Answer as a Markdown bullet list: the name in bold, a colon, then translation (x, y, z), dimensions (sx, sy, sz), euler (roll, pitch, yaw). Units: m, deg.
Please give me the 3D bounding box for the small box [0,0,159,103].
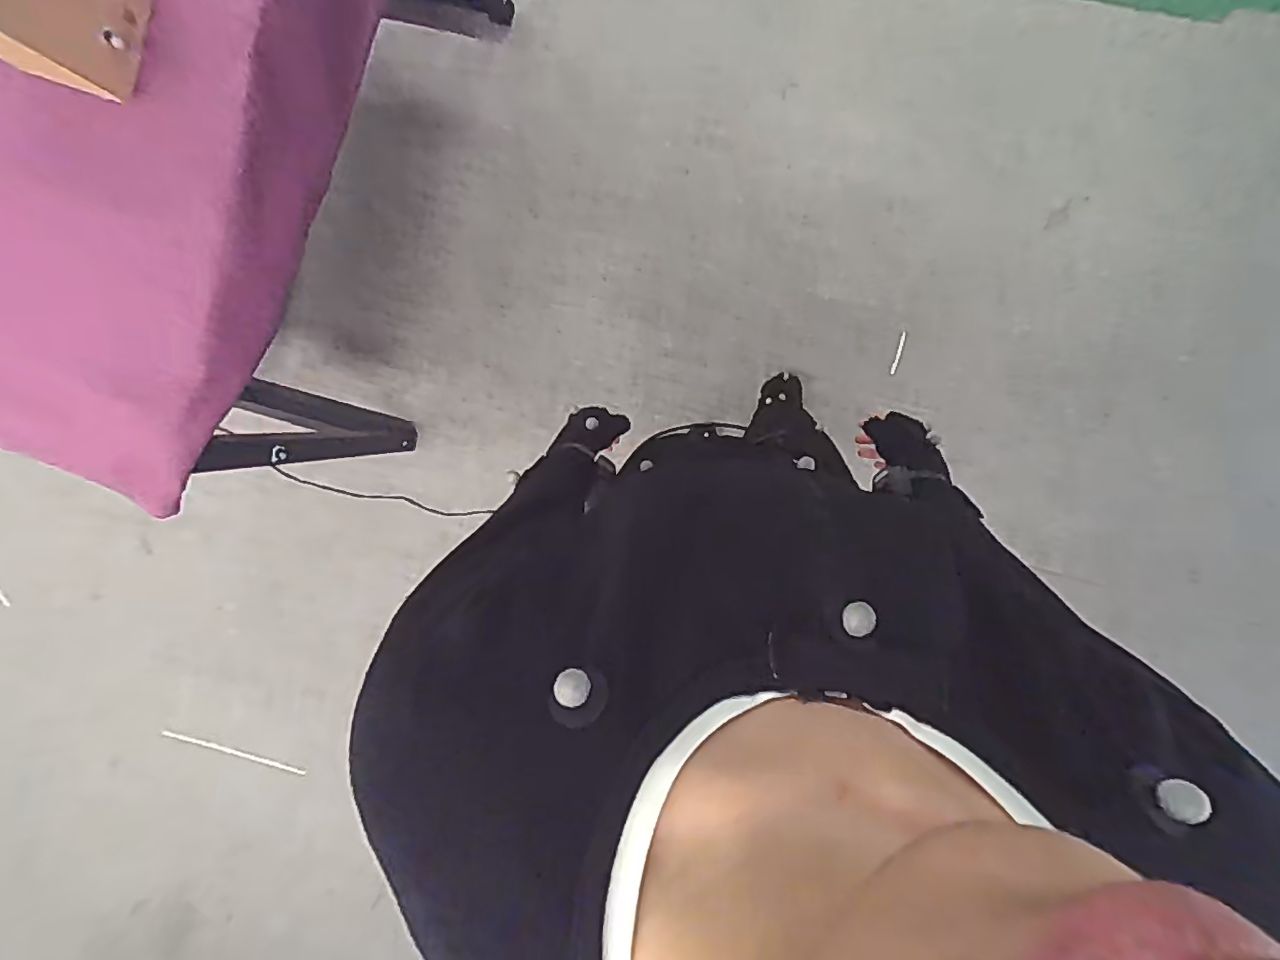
- **small box**: translation (-0.764, -0.611, 0.667), dimensions (0.179, 0.176, 0.168), euler (20, 99, 3)
